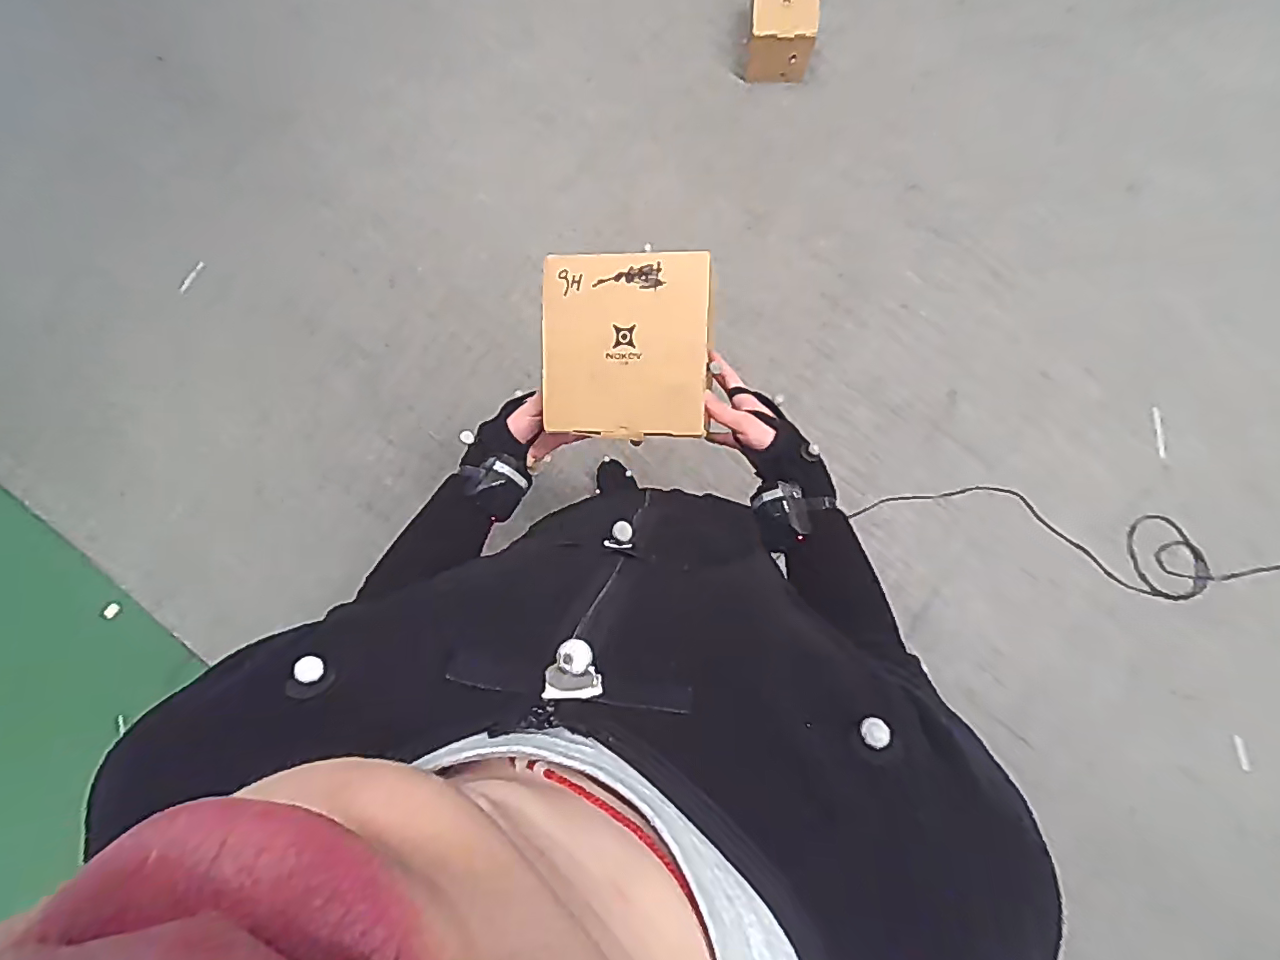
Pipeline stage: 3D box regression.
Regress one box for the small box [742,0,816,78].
[{"bbox_3d":[0.368,-1.215,1.445,0.168,0.176,0.179,1,89,2],"label":"small box"}]
